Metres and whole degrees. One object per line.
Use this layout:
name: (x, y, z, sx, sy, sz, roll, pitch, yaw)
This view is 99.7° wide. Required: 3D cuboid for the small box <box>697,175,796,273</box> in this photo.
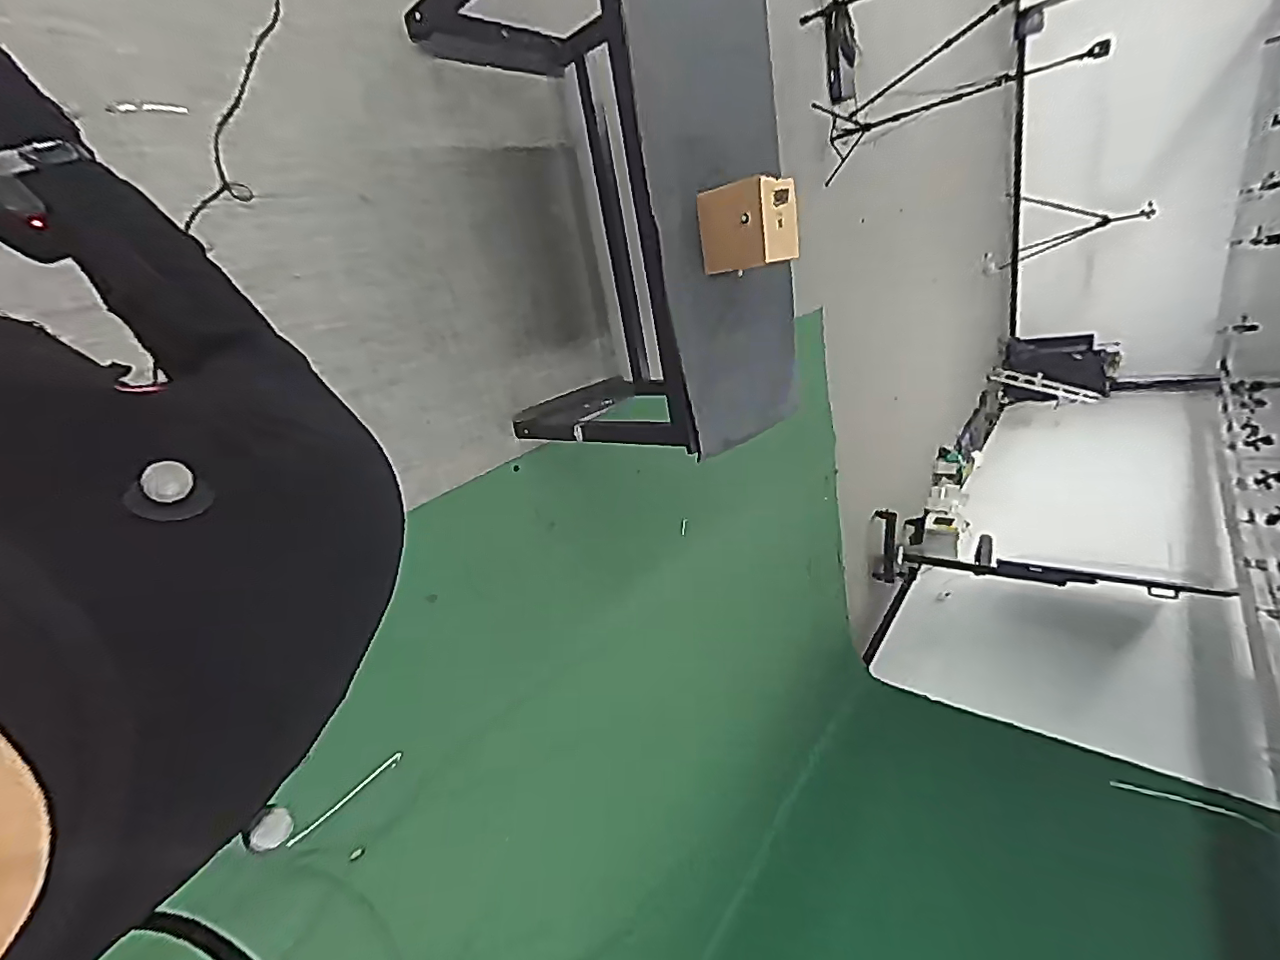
small box: (0.249, -0.596, 1.271, 0.168, 0.176, 0.179, -29, 117, -43)
